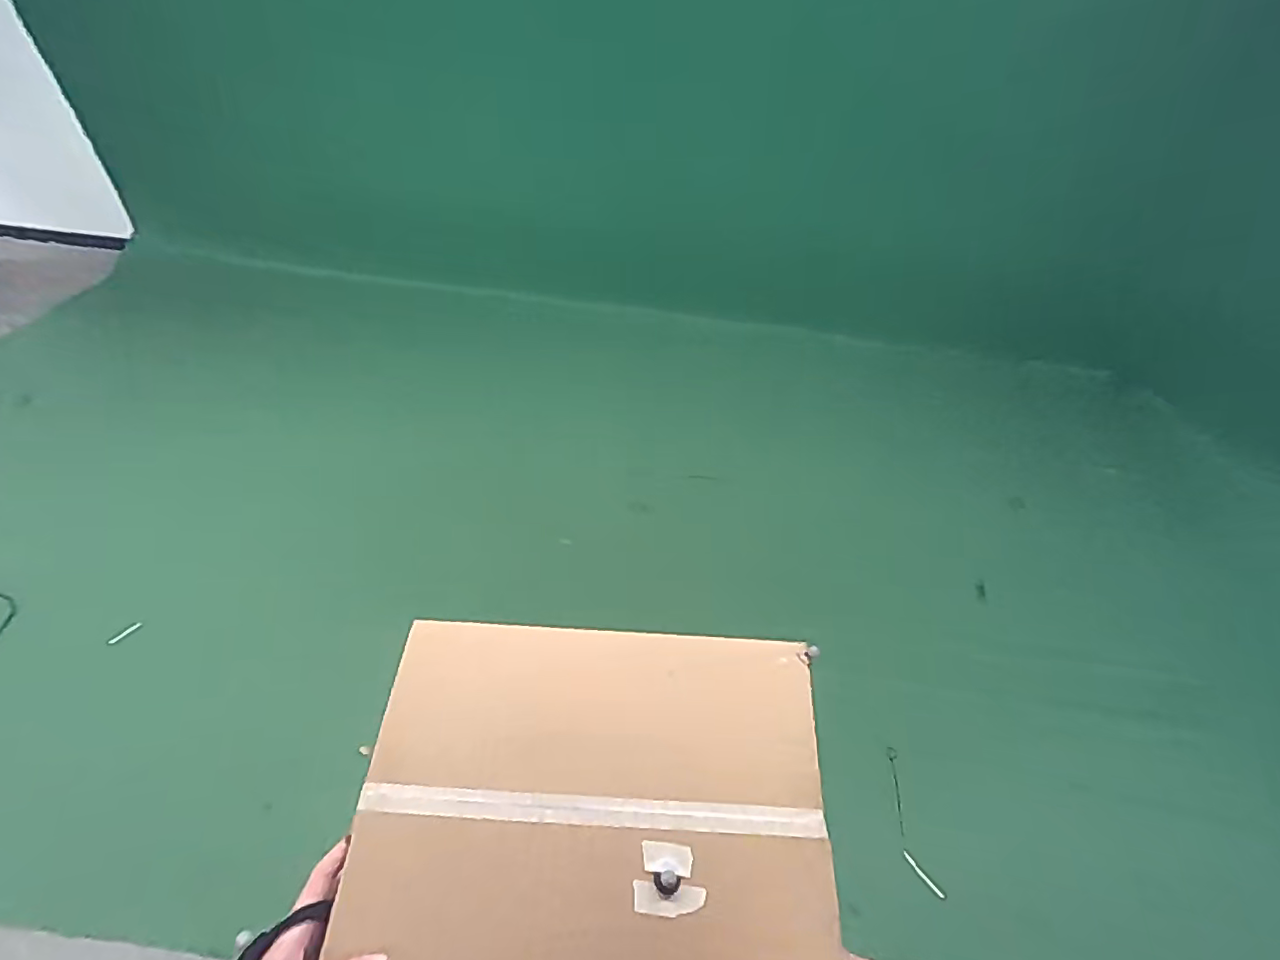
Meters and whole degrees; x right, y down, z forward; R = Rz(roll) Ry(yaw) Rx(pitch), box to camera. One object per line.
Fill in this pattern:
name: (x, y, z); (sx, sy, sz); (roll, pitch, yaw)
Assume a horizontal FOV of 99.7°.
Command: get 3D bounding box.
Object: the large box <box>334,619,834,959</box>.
large box: (-0.043, 0.364, 0.614); (0.408, 0.320, 0.320); (3, 59, 1)
